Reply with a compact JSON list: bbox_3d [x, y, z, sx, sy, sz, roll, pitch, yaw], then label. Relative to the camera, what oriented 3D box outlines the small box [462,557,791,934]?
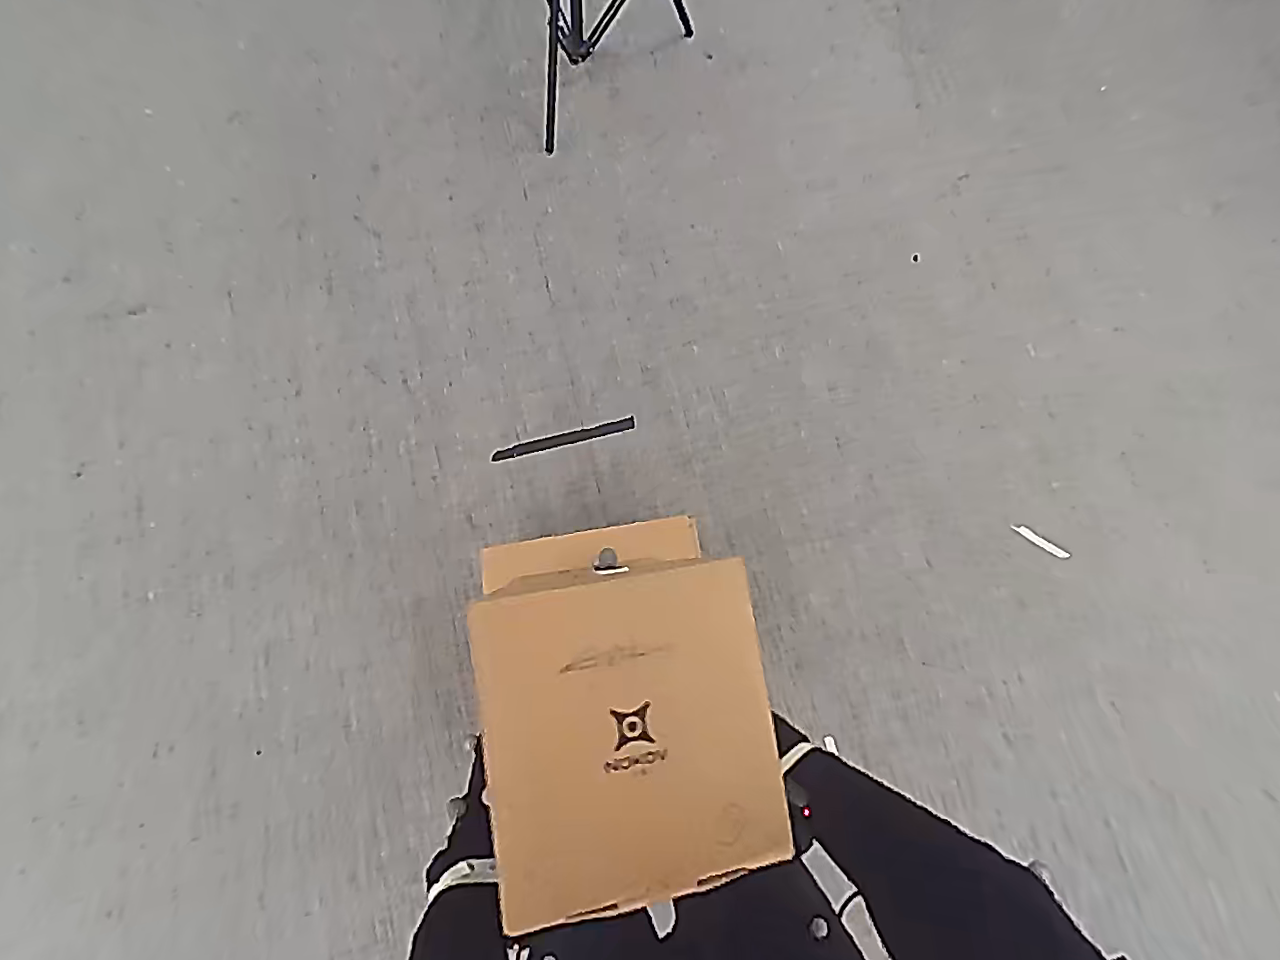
[{"bbox_3d":[-0.017,0.153,0.383,0.168,0.176,0.179,-9,83,-10],"label":"small box"}]
